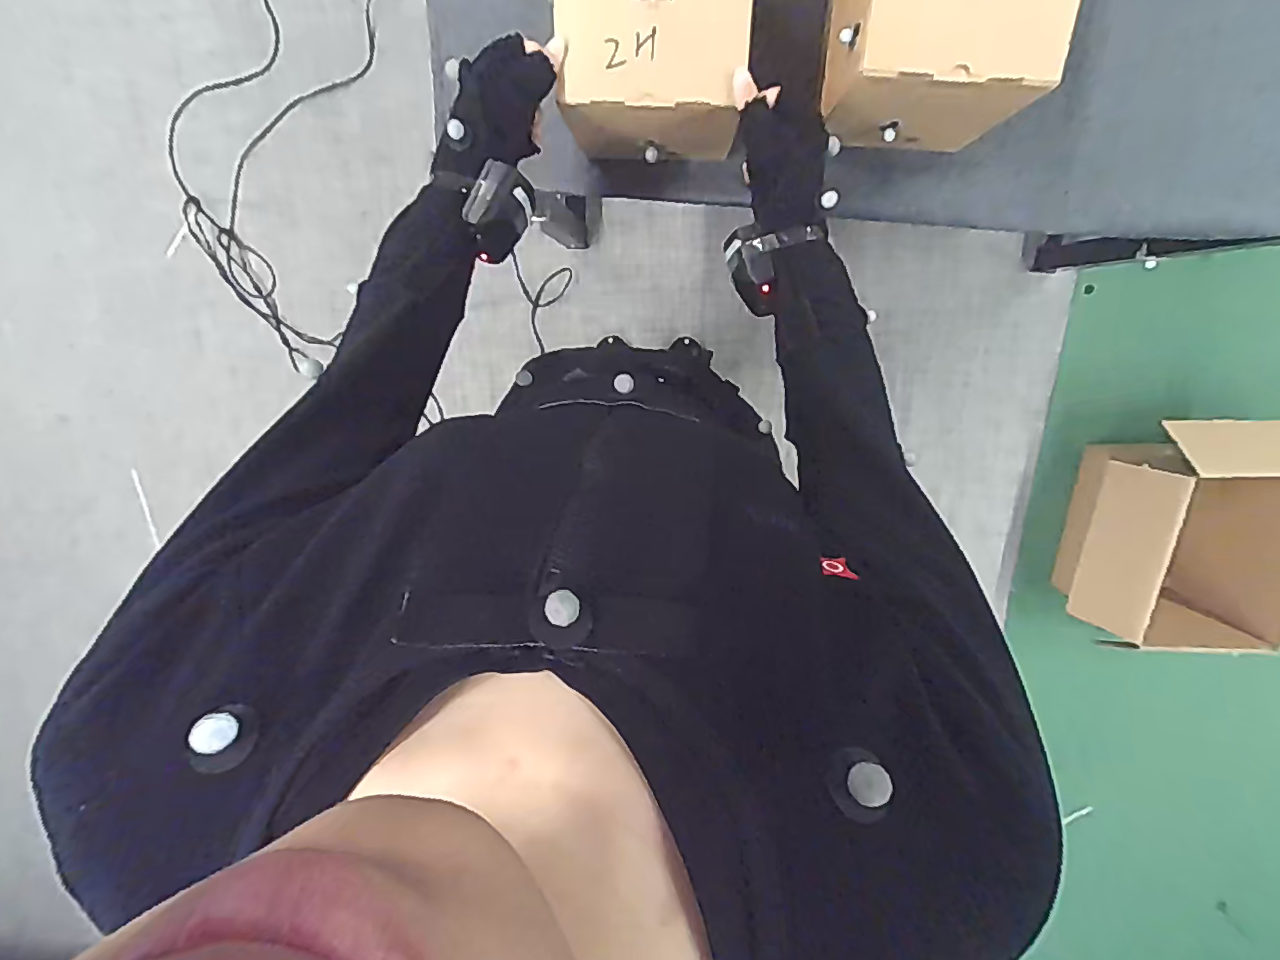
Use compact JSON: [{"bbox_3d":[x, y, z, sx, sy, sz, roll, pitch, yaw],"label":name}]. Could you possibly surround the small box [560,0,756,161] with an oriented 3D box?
[{"bbox_3d":[0.018,-0.432,0.522,0.168,0.176,0.179,2,107,3],"label":"small box"}]
